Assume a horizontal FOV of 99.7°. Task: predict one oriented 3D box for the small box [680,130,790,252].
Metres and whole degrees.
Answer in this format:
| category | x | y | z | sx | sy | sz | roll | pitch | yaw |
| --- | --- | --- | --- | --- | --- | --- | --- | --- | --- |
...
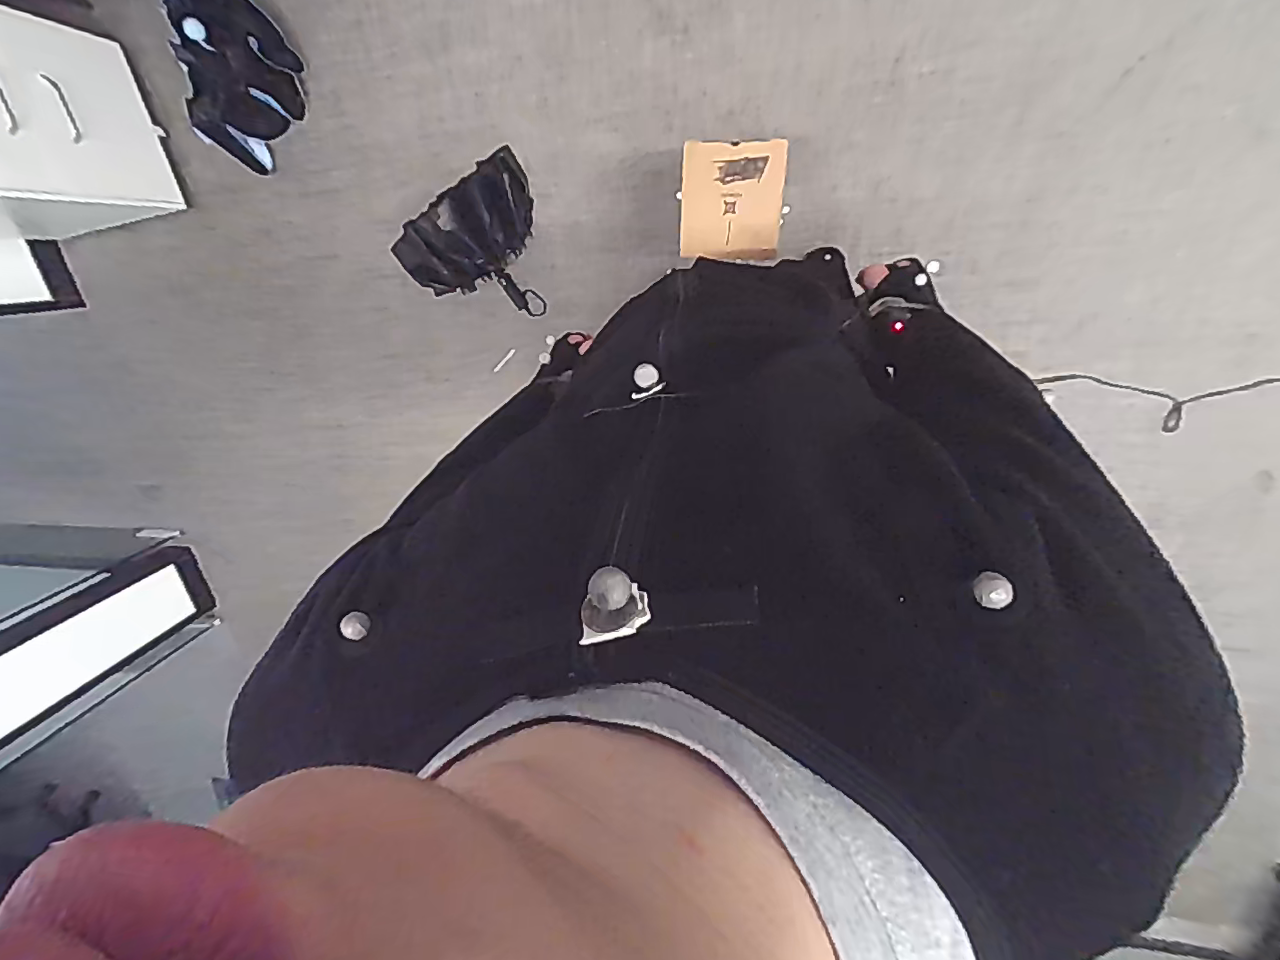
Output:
| category | x | y | z | sx | sy | sz | roll | pitch | yaw |
| --- | --- | --- | --- | --- | --- | --- | --- | --- | --- |
| small box | 0.165 | -0.500 | 0.954 | 0.168 | 0.176 | 0.179 | 6 | 115 | 10 |
